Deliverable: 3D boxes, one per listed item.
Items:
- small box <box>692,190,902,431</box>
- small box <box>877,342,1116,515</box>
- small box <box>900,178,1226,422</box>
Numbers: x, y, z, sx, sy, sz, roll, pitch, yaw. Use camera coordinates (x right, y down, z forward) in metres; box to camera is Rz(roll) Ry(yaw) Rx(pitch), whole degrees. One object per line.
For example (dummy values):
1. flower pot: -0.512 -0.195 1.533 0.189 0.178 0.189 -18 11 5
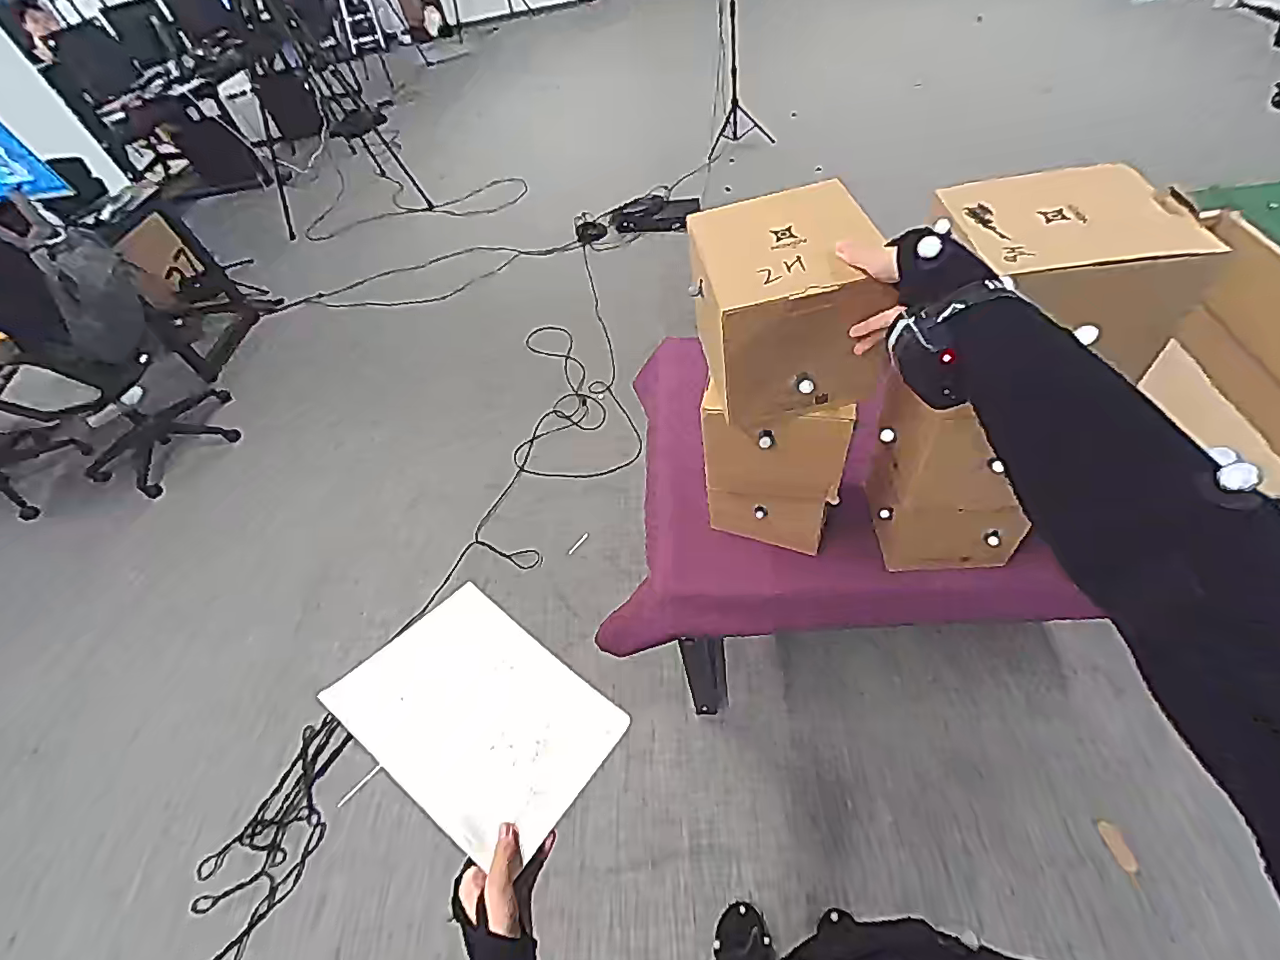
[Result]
1. small box: 0.157 -0.182 0.598 0.168 0.176 0.179 -12 53 4
2. small box: 0.415 -0.070 0.669 0.179 0.176 0.168 -3 49 9
3. small box: 0.389 -0.174 0.544 0.179 0.176 0.168 -3 49 8
